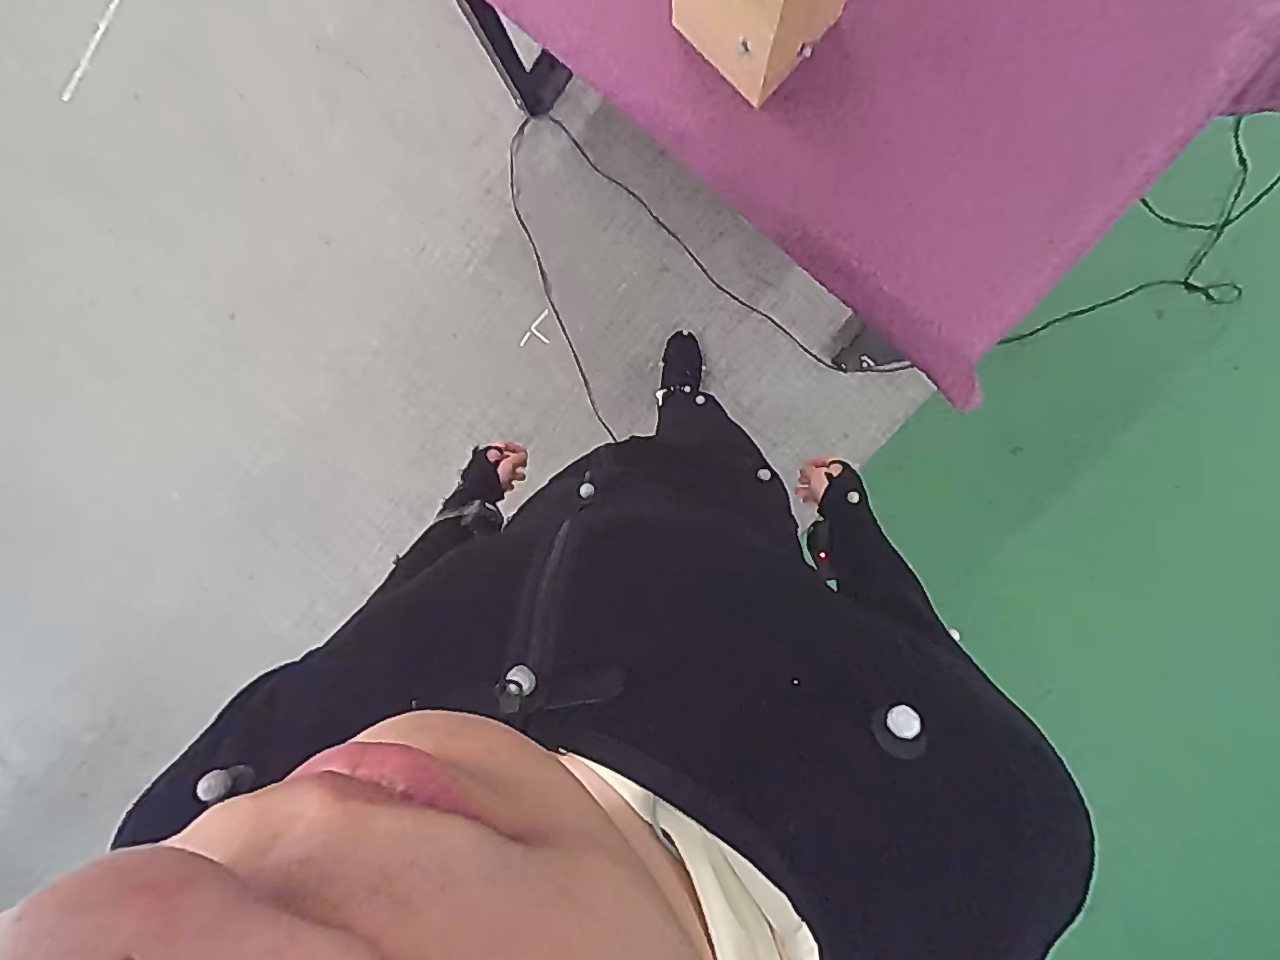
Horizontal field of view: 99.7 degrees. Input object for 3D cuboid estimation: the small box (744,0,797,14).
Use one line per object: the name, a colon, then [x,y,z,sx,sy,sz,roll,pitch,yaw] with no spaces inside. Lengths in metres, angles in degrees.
small box: [0.145,-0.626,0.535,0.179,0.176,0.168,44,99,-2]
